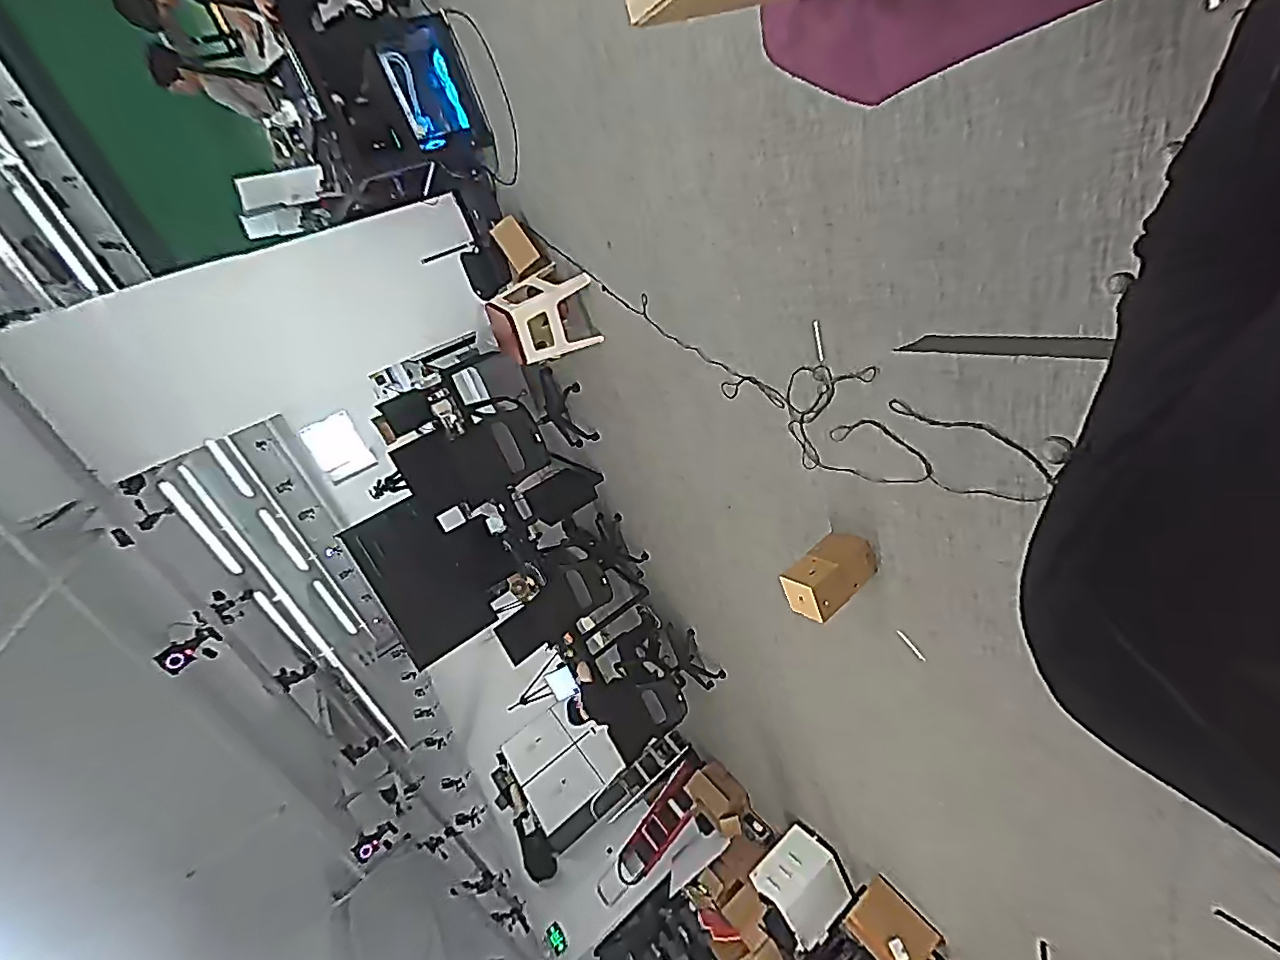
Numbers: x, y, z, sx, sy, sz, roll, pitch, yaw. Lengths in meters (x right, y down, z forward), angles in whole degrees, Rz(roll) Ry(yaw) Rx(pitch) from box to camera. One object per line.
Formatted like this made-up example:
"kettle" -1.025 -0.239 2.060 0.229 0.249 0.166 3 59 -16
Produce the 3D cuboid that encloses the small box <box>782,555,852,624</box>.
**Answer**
"small box" 0.688 0.417 2.098 0.168 0.176 0.179 13 132 60
